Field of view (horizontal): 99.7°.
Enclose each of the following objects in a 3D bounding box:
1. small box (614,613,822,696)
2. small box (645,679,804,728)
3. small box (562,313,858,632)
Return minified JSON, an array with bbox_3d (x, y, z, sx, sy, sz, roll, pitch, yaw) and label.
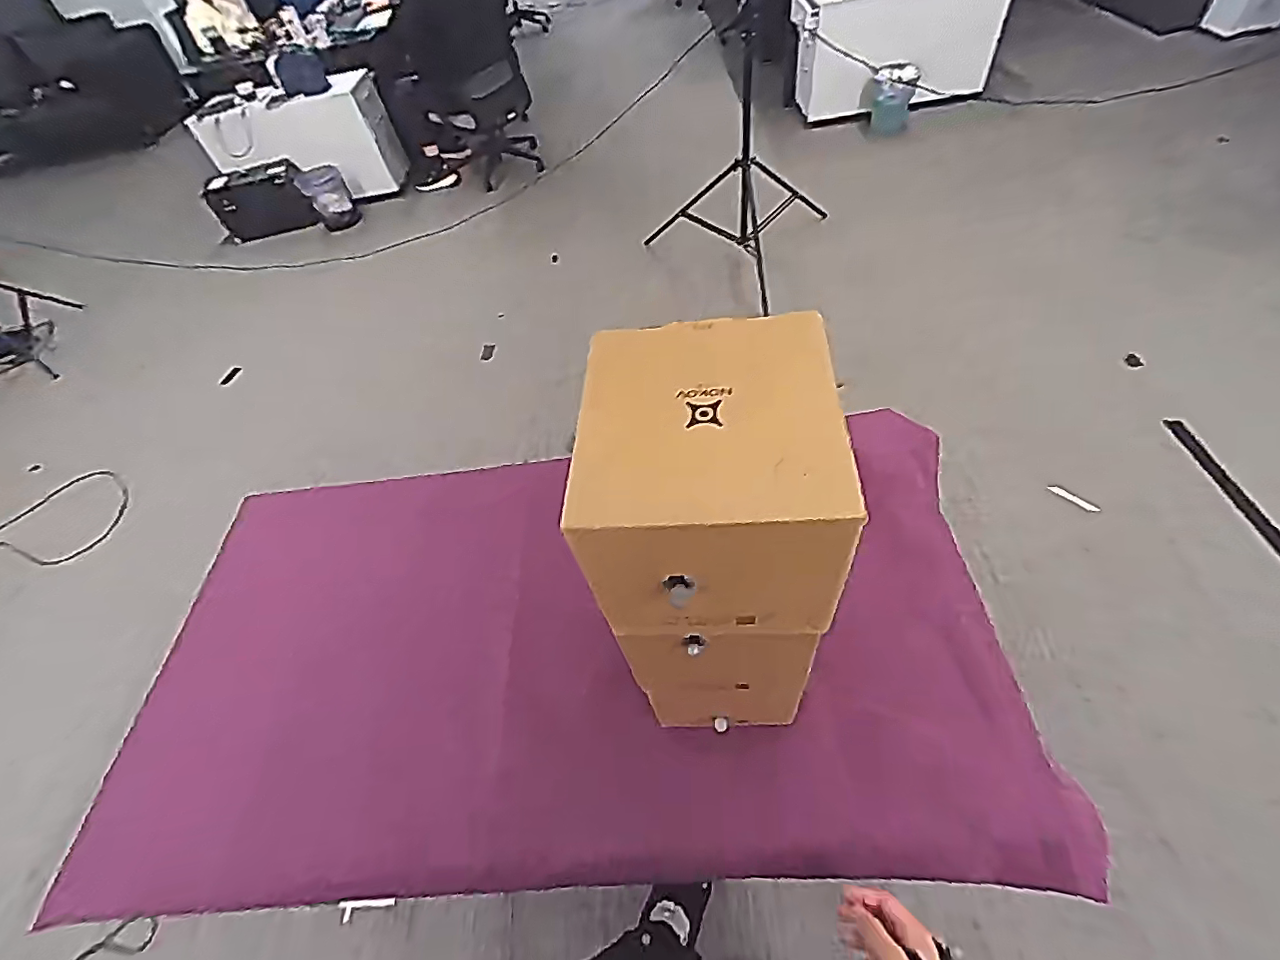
[{"bbox_3d":[0.075,0.098,0.537,0.168,0.176,0.179,-3,52,9],"label":"small box"},{"bbox_3d":[0.099,0.193,0.669,0.168,0.176,0.179,-5,53,7],"label":"small box"},{"bbox_3d":[0.052,0.005,0.404,0.168,0.176,0.179,-3,52,9],"label":"small box"}]
